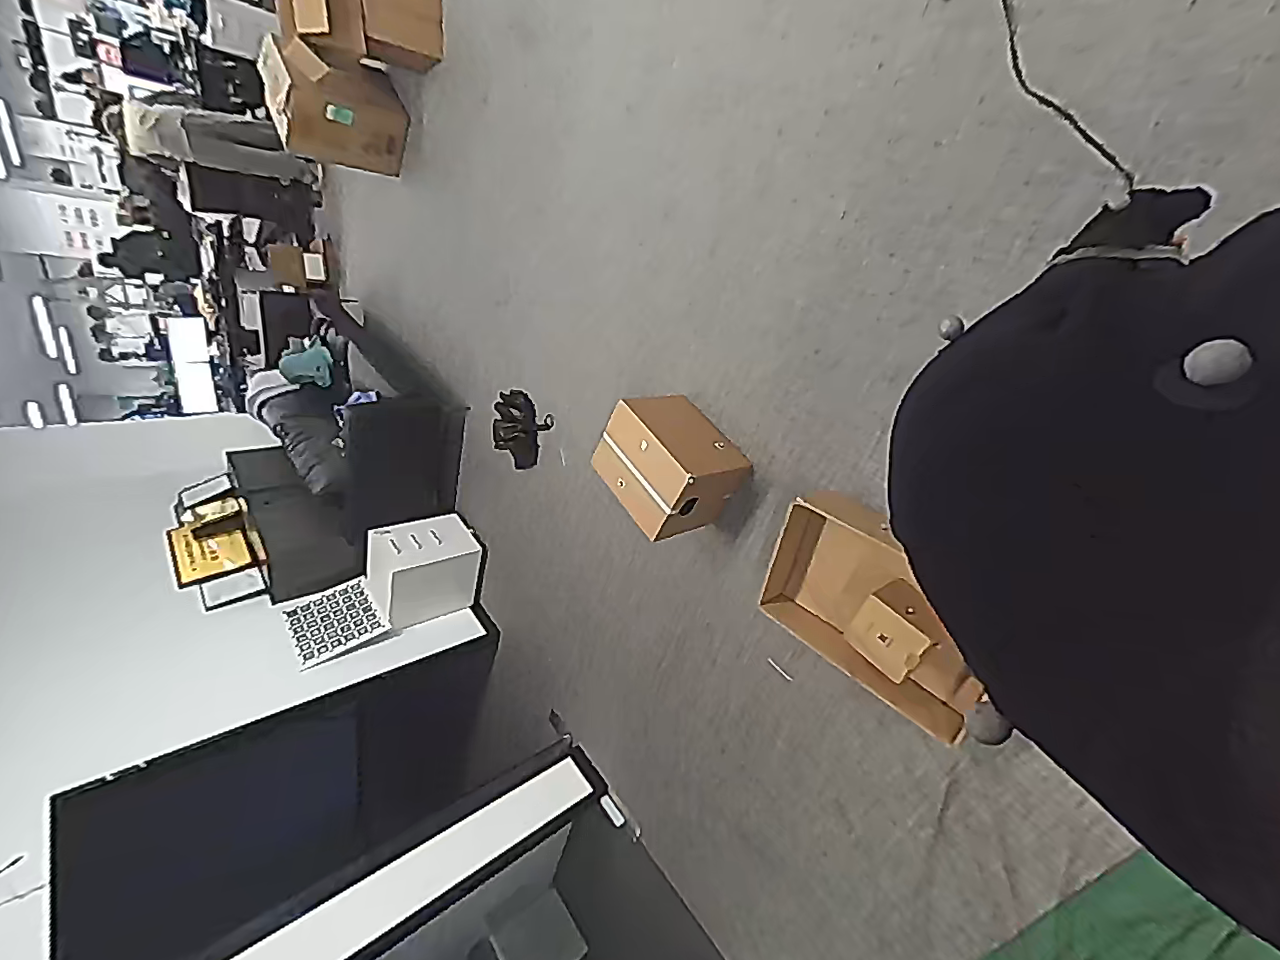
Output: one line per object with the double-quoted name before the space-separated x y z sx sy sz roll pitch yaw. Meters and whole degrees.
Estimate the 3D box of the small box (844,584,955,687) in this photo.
"small box" 0.682 0.397 1.418 0.179 0.176 0.168 42 127 37
